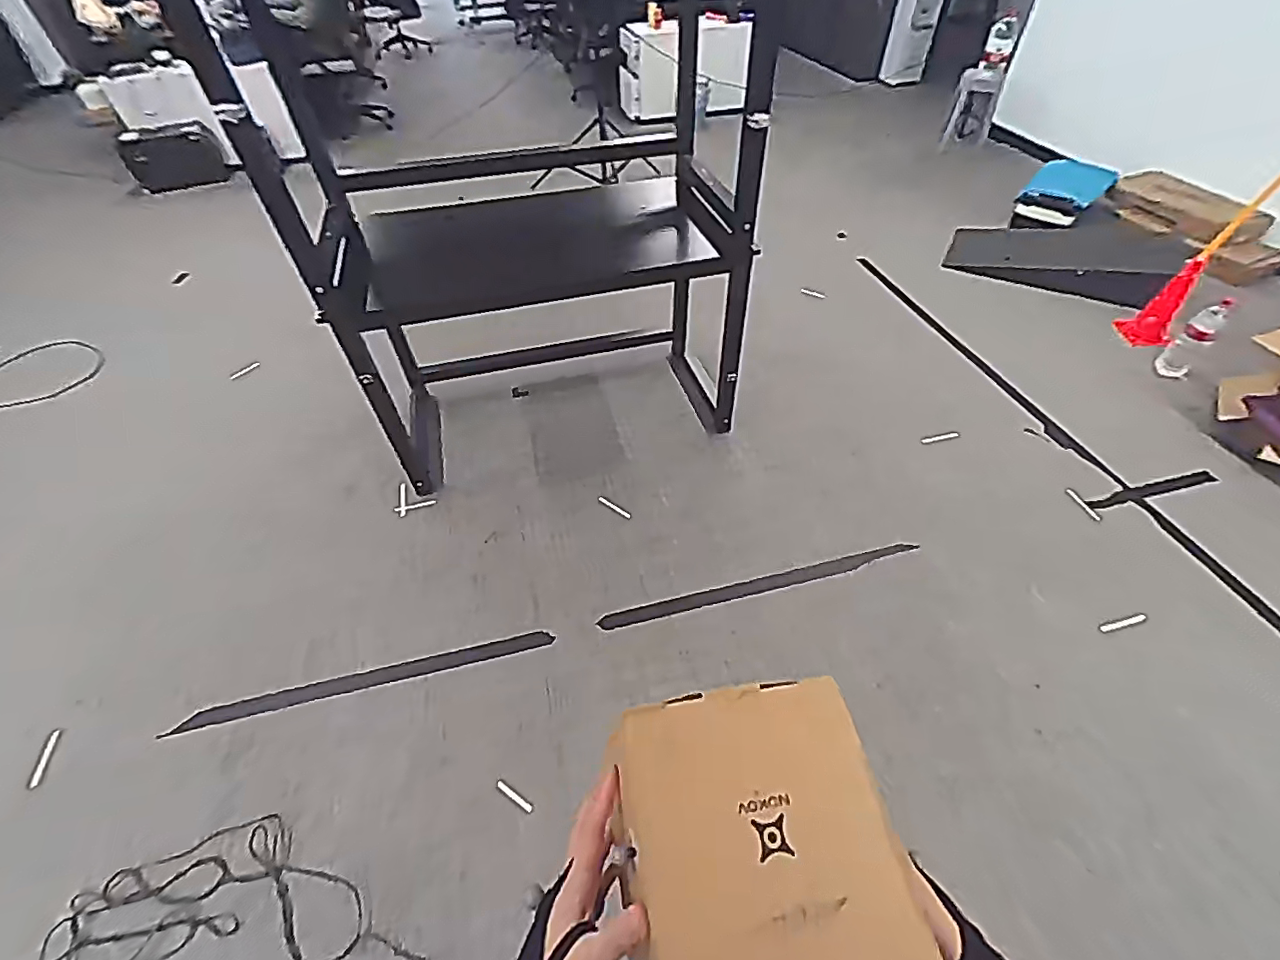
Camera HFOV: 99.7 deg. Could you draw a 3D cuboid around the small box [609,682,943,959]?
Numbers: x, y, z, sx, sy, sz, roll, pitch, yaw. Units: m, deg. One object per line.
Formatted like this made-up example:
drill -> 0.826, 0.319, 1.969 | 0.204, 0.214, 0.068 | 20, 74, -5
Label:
small box -> 0.073, 0.271, 0.402 | 0.168, 0.176, 0.179 | -3, 54, -12
